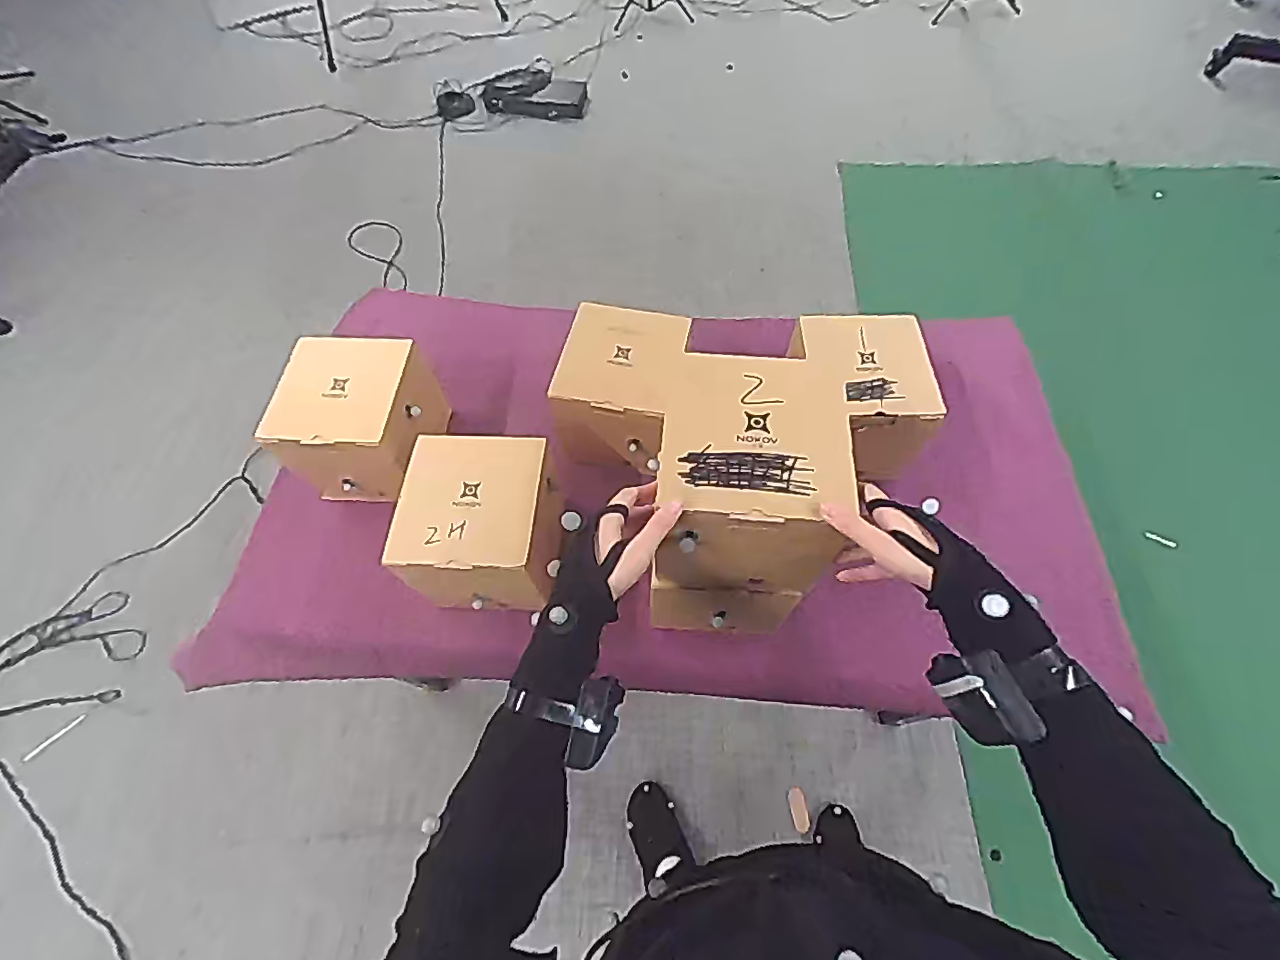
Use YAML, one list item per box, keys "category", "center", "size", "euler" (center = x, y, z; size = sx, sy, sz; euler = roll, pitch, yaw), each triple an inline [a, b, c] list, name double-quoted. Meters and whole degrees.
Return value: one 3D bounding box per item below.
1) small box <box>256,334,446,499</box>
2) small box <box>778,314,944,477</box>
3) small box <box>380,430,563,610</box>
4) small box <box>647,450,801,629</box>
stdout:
- category: "small box"
  center: [-0.399, -0.088, 0.789]
  size: [0.168, 0.176, 0.179]
  euler: [2, 62, 2]
- category: "small box"
  center: [0.303, -0.116, 0.783]
  size: [0.168, 0.176, 0.179]
  euler: [1, 60, 2]
- category: "small box"
  center: [-0.199, 0.055, 0.701]
  size: [0.168, 0.176, 0.179]
  euler: [2, 61, 4]
- category: "small box"
  center: [0.098, 0.081, 0.681]
  size: [0.168, 0.176, 0.179]
  euler: [3, 61, 3]
